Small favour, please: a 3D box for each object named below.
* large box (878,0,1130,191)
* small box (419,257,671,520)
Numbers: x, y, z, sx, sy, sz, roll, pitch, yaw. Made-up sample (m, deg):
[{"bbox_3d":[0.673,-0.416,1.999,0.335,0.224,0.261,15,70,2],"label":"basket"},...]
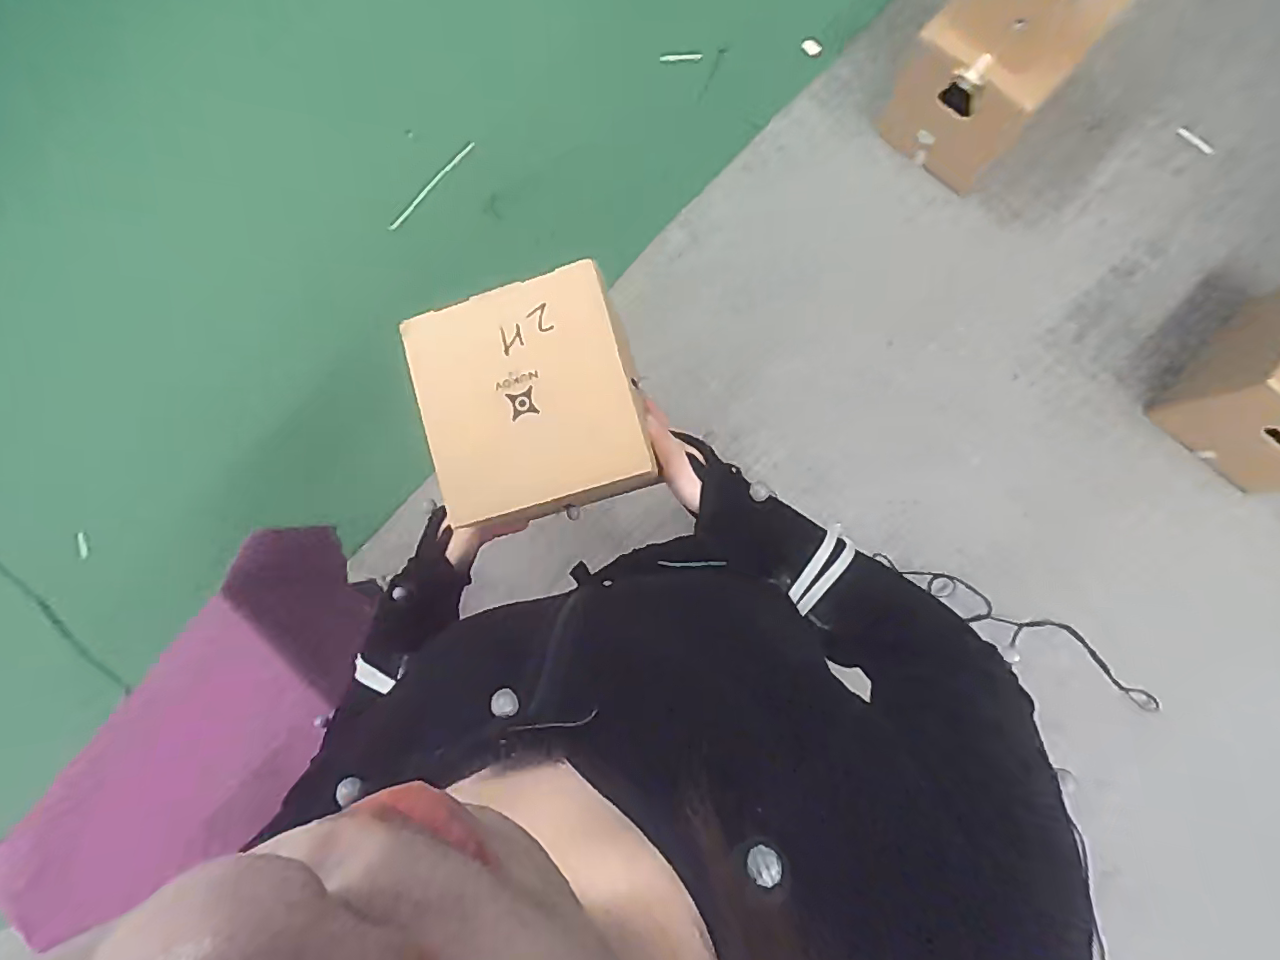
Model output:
[{"bbox_3d":[0.883,-1.038,1.346,0.320,0.320,0.408,43,90,8],"label":"large box"},{"bbox_3d":[-0.071,-0.069,0.501,0.168,0.176,0.179,-14,87,5],"label":"small box"}]
